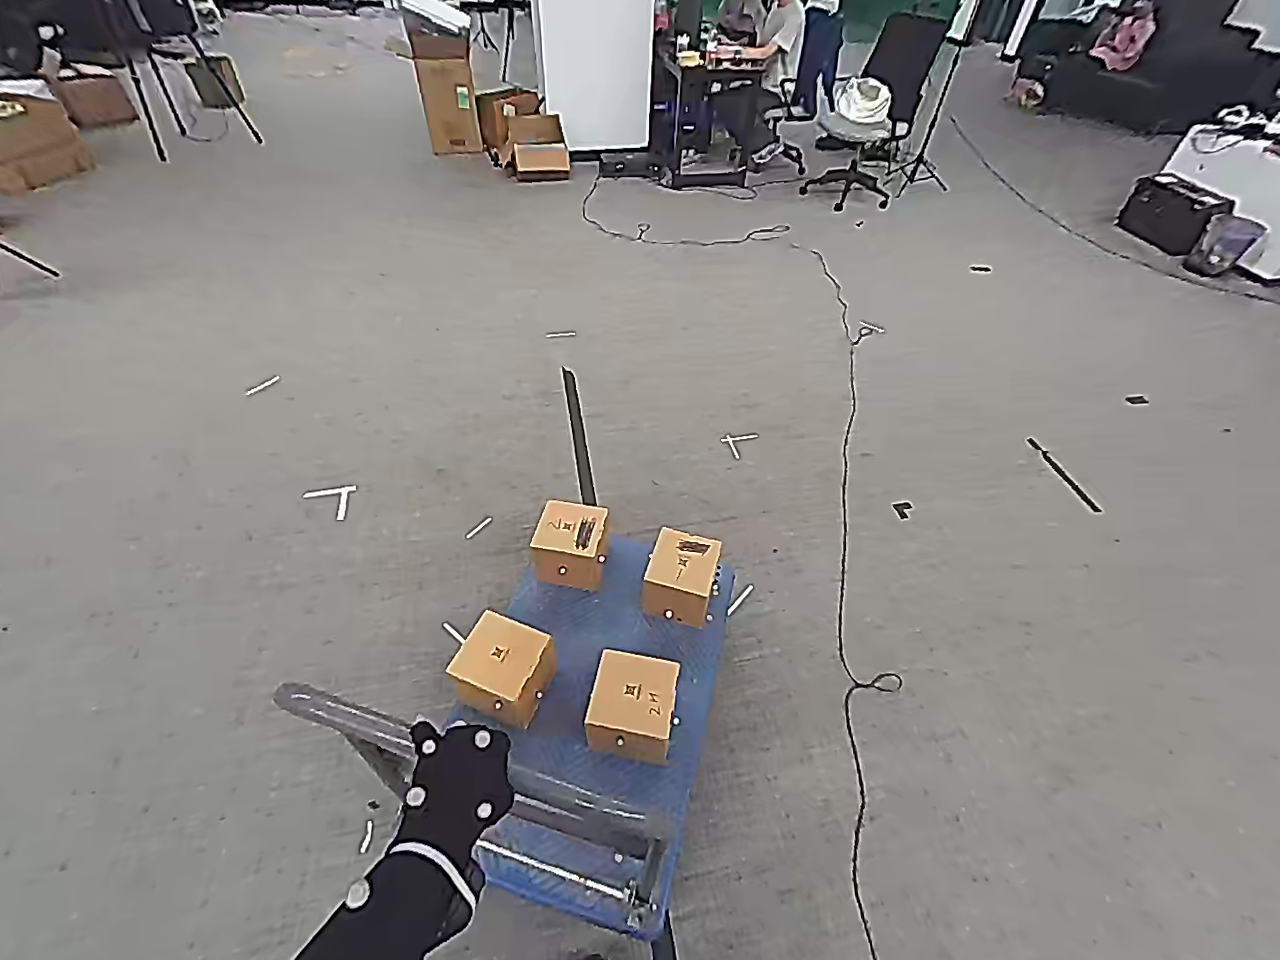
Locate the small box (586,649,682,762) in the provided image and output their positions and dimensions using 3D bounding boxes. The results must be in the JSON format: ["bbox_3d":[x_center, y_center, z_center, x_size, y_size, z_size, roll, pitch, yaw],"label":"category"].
[{"bbox_3d":[-0.010,0.501,1.197,0.179,0.176,0.168,10,48,7],"label":"small box"}]

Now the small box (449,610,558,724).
[{"bbox_3d":[-0.306,0.436,1.251,0.179,0.176,0.168,18,48,13],"label":"small box"}]

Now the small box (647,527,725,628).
[{"bbox_3d":[0.116,0.258,1.430,0.168,0.176,0.179,14,49,11],"label":"small box"}]
